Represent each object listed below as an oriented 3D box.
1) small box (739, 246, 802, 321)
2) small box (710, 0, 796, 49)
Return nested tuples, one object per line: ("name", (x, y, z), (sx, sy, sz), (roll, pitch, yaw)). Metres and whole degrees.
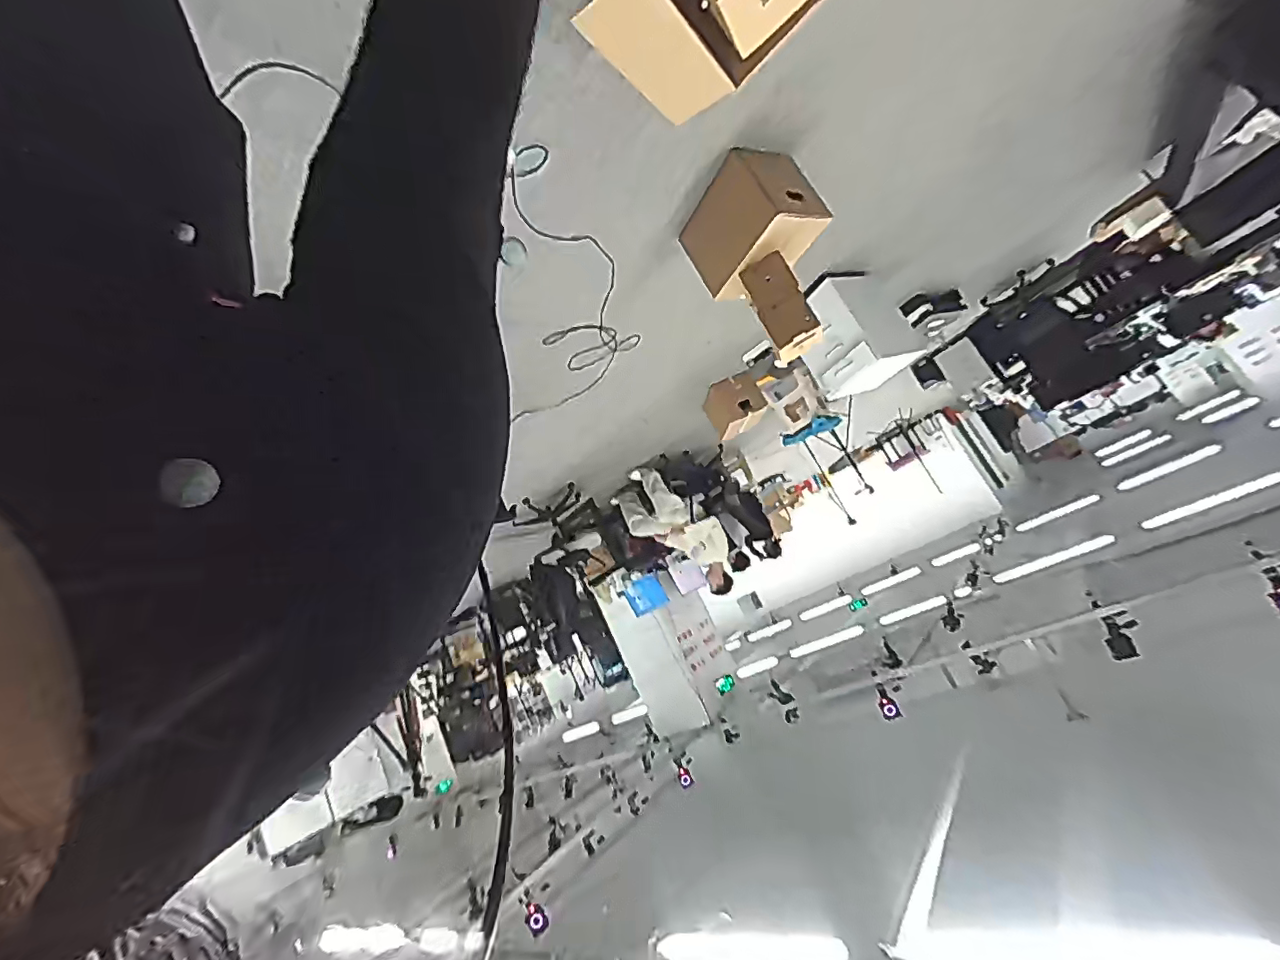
("small box", (0.484, -0.733, 2.006), (0.168, 0.176, 0.179), (-30, 165, 14))
("small box", (0.201, -0.985, 1.009), (0.179, 0.176, 0.168), (-33, 169, 25))
